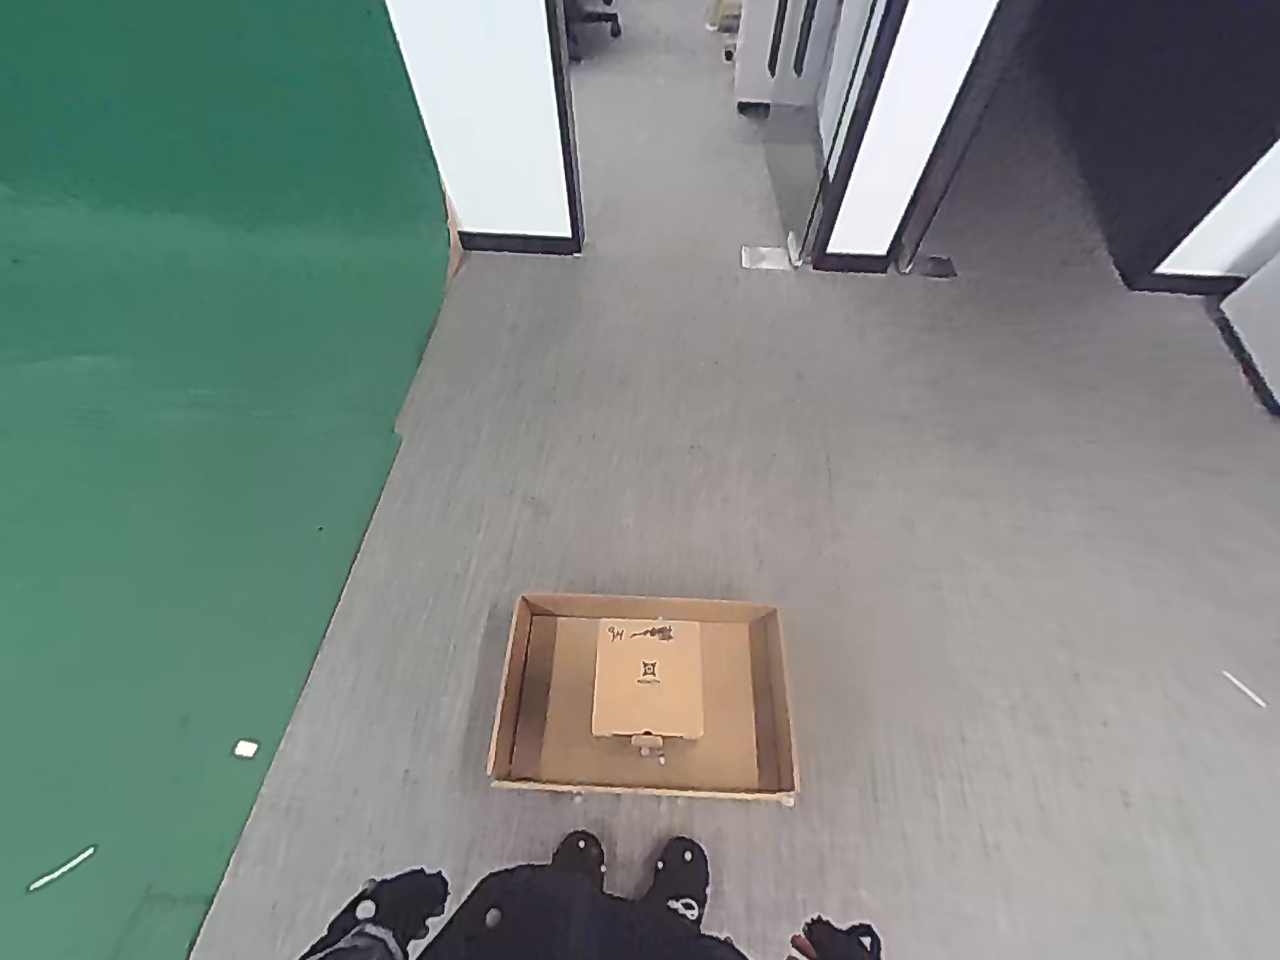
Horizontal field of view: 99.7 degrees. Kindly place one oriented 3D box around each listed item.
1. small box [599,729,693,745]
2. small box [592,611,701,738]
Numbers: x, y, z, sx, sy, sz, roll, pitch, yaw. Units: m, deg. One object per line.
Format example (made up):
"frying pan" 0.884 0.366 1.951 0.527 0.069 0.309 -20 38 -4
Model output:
"small box" 0.011 0.408 1.036 0.168 0.176 0.179 -1 60 -1
"small box" 0.014 0.332 0.910 0.168 0.176 0.179 2 60 0
